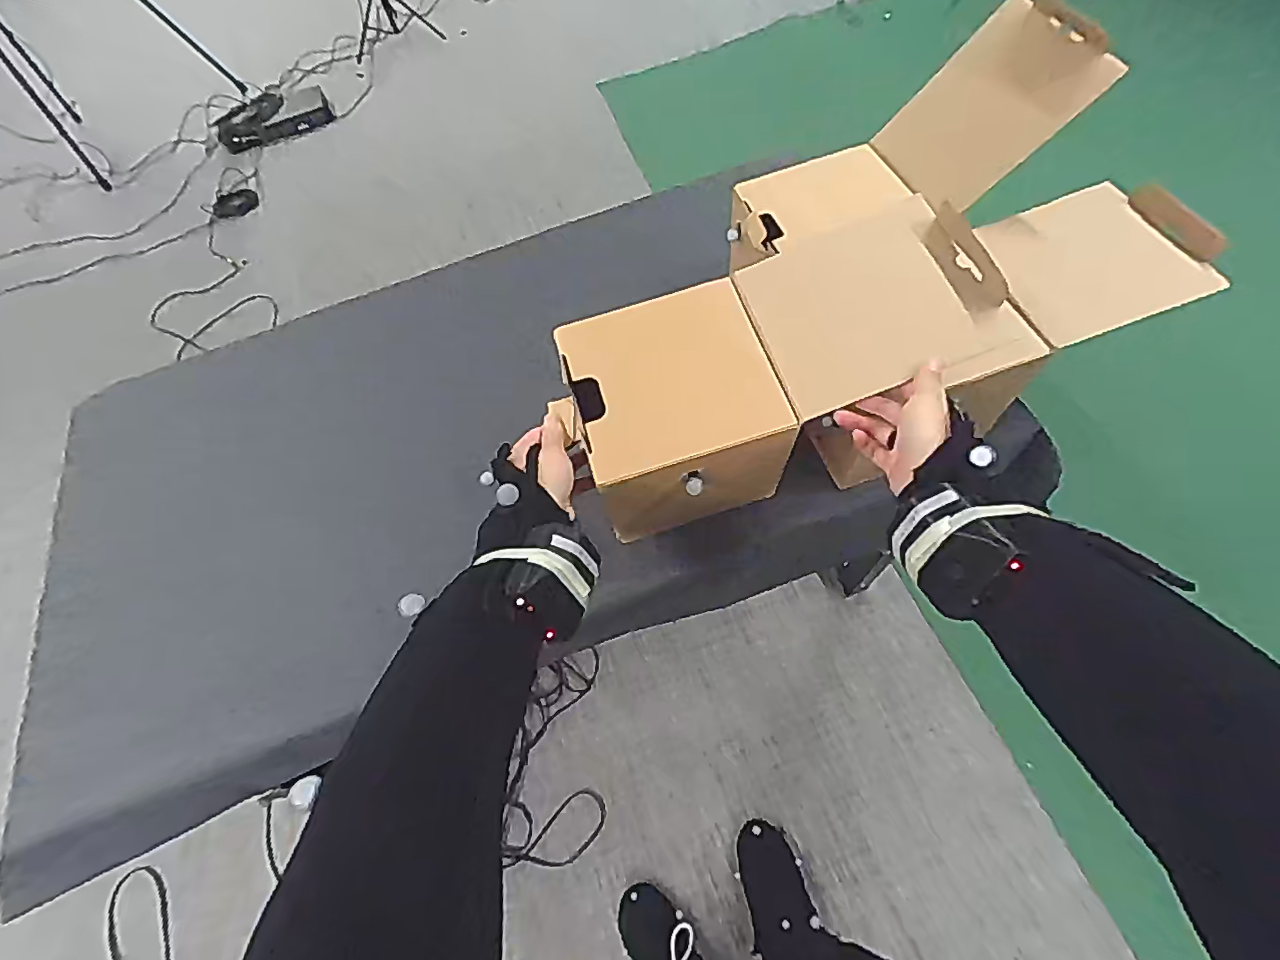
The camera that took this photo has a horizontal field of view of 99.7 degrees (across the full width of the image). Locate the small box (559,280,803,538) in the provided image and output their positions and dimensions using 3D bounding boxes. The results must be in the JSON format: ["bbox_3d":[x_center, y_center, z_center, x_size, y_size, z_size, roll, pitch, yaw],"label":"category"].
[{"bbox_3d":[0.036,-0.058,0.535,0.179,0.176,0.168,-17,67,0],"label":"small box"}]
